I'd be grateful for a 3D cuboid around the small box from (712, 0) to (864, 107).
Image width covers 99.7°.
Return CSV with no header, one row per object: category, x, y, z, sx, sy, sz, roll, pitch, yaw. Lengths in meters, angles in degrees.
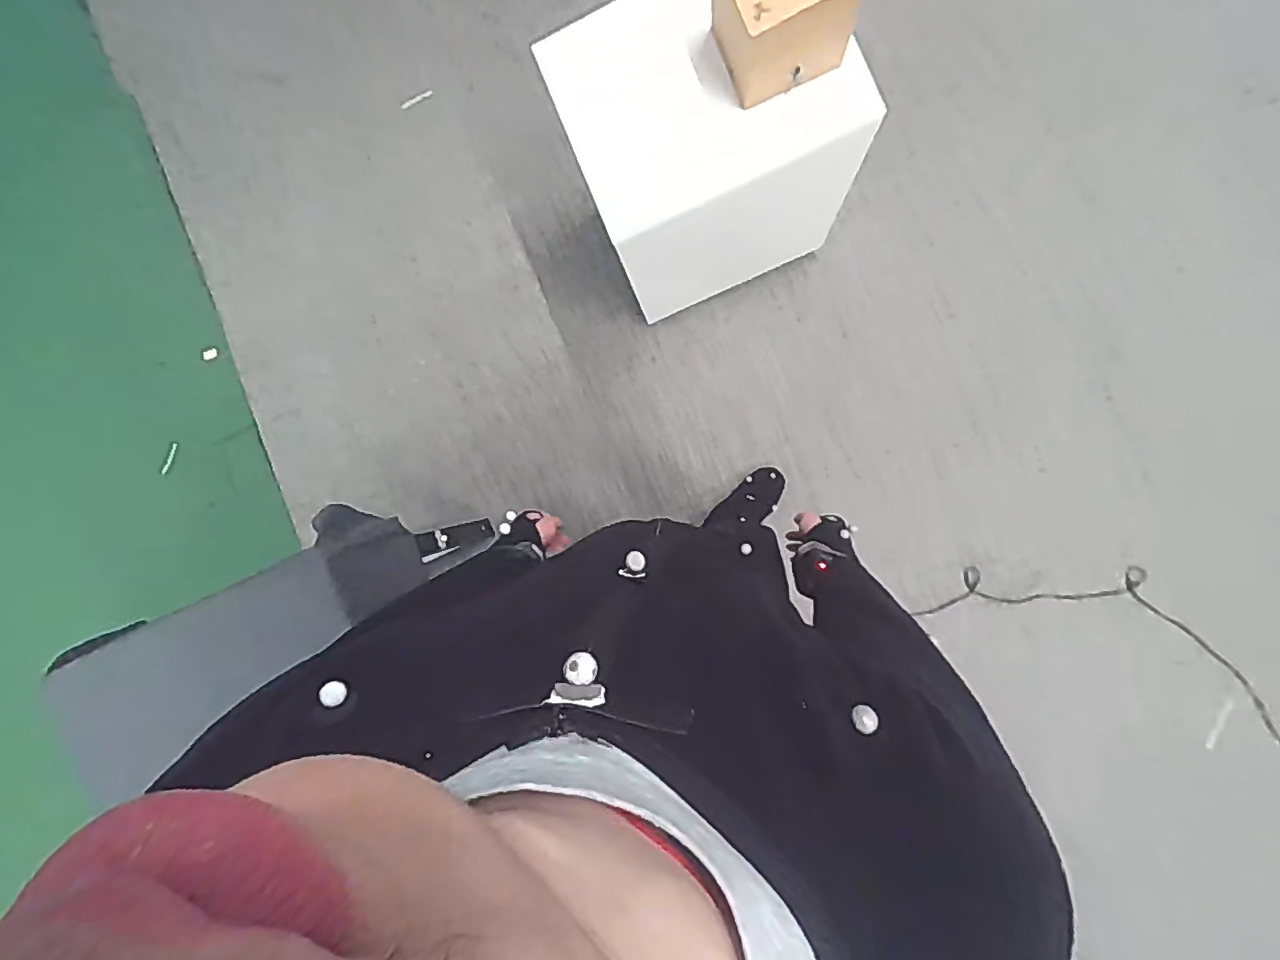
small box,0.219,-0.737,0.840,0.179,0.176,0.168,-21,89,7
